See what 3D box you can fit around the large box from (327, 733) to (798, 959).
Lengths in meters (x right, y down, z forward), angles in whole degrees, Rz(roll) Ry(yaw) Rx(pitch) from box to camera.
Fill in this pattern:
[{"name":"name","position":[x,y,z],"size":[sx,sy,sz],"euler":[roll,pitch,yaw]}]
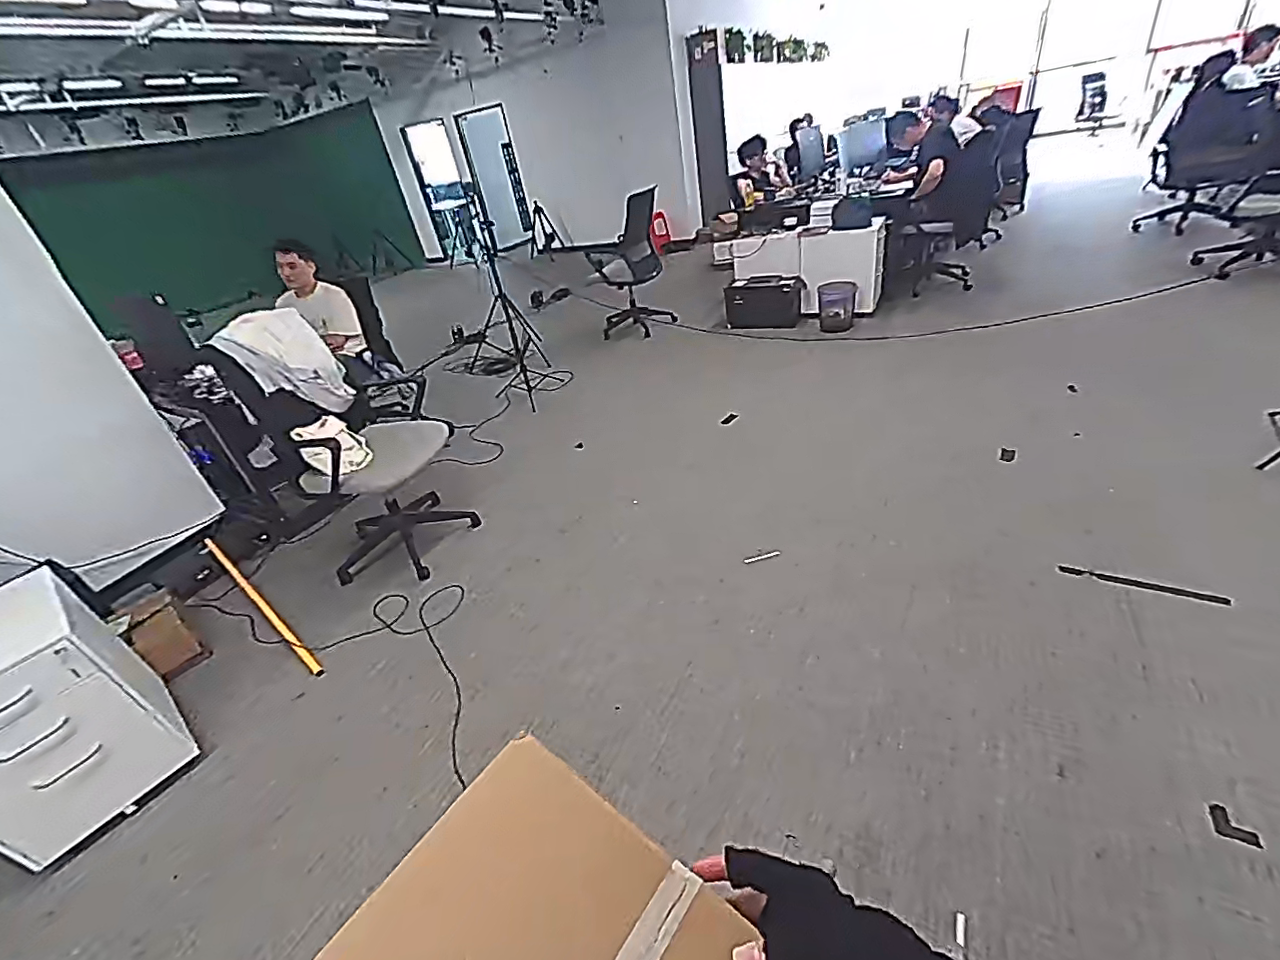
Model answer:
[{"name":"large box","position":[-0.084,0.480,0.353],"size":[0.320,0.320,0.408],"euler":[28,51,26]}]
